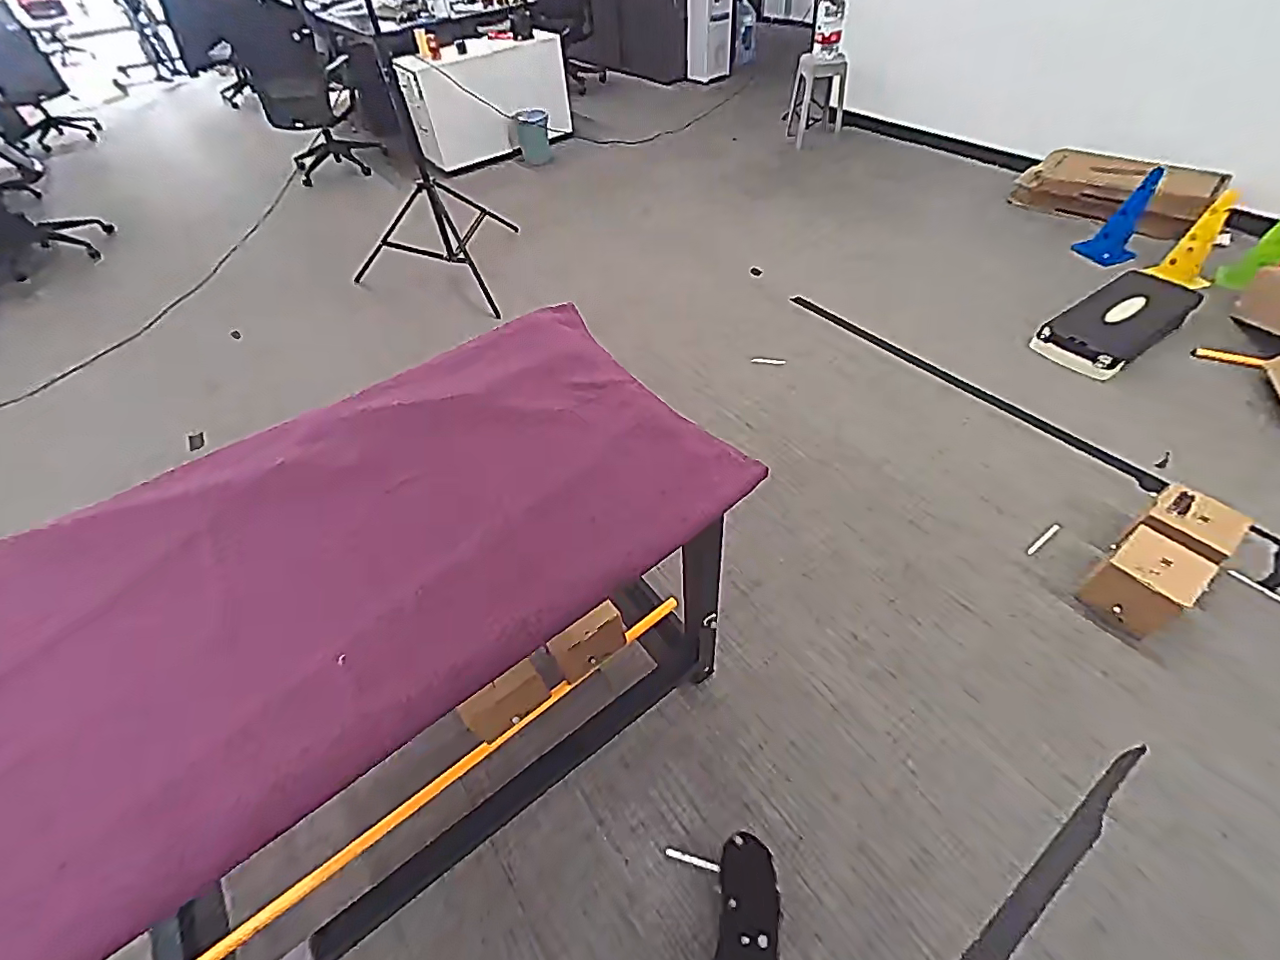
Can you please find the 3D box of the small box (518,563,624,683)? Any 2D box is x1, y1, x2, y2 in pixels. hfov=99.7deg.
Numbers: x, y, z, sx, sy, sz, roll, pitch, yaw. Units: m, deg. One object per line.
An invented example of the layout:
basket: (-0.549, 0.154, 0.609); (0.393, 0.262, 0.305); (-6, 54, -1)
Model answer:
small box: (-0.154, 0.331, 1.243); (0.168, 0.176, 0.179); (-33, 55, -20)

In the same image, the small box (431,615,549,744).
small box: (-0.319, 0.434, 1.171); (0.168, 0.176, 0.179); (-33, 56, -21)
